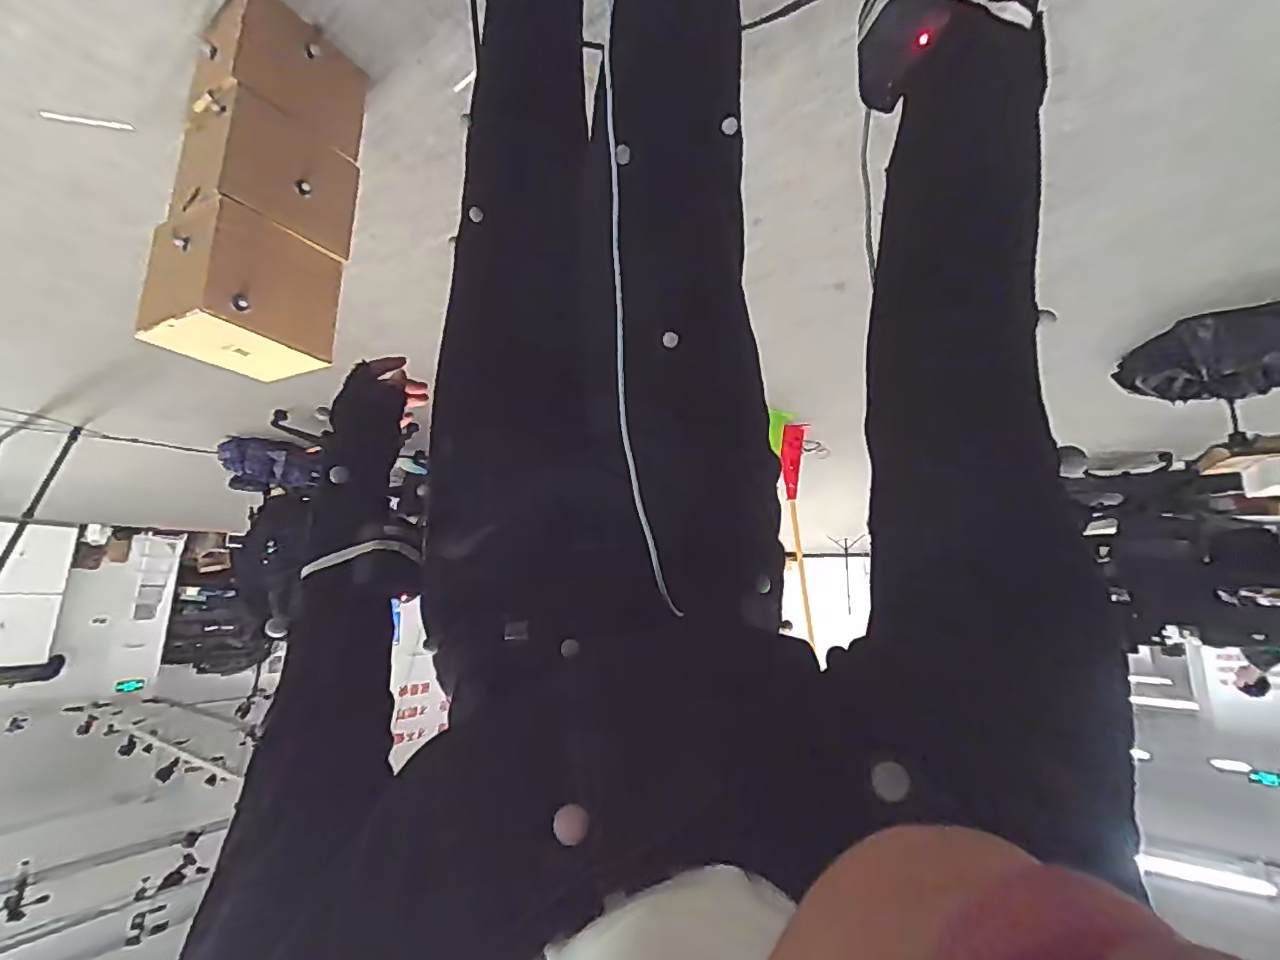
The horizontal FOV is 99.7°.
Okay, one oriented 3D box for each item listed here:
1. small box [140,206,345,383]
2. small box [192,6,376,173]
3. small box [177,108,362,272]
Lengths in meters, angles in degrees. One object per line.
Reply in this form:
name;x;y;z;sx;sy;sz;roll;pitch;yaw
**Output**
small box;-0.565;-0.259;0.789;0.168;0.176;0.179;-5;166;25
small box;-0.550;-0.582;0.848;0.168;0.176;0.179;-3;166;34
small box;-0.554;-0.418;0.820;0.168;0.176;0.179;-6;167;30
